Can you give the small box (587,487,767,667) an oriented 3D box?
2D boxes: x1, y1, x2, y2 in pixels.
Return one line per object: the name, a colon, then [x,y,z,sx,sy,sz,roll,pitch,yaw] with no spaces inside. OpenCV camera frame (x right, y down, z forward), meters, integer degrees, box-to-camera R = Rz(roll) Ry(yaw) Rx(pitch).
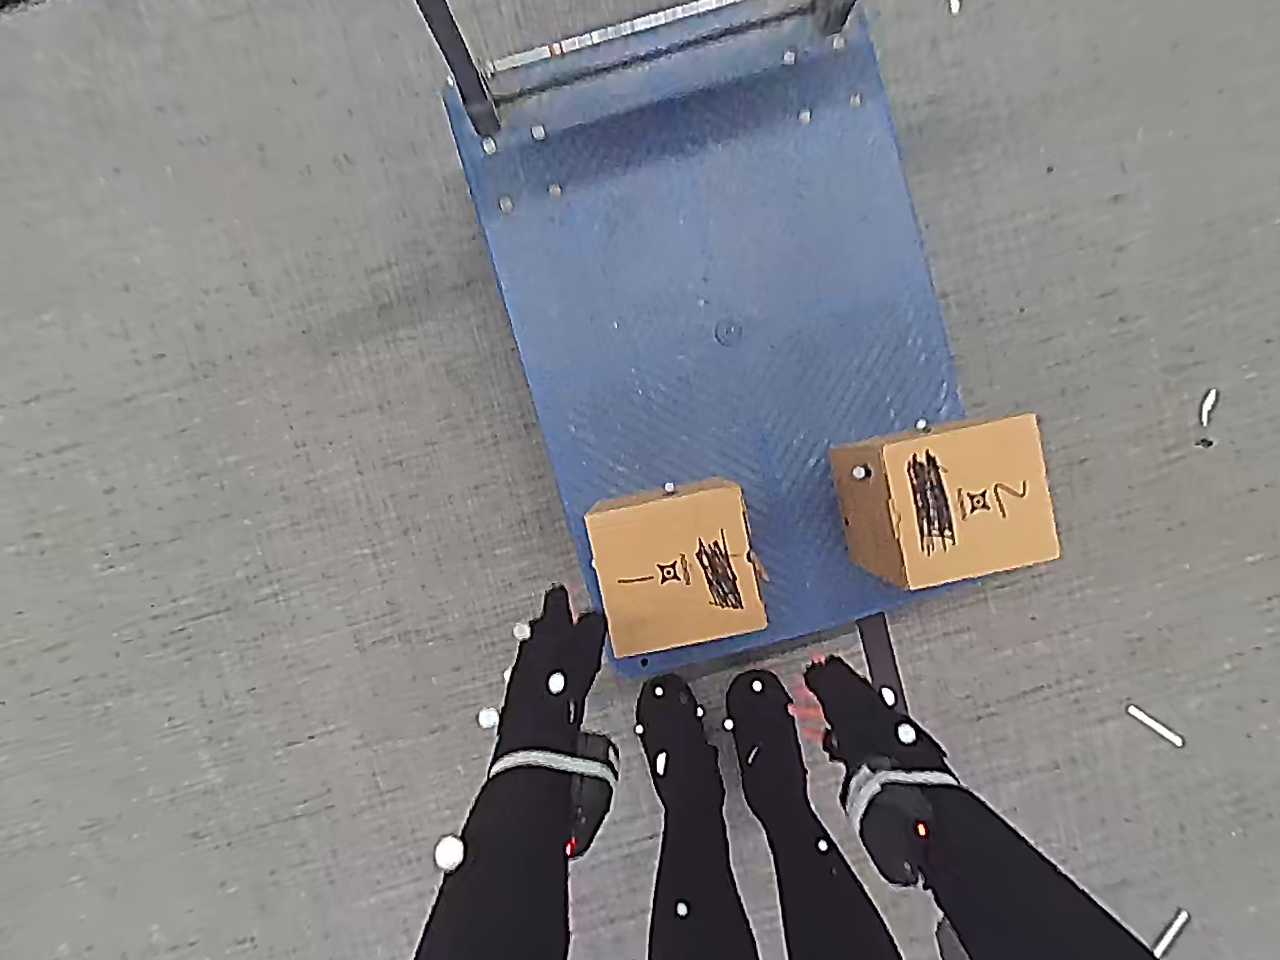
small box: [0.041,0.107,0.672,0.179,0.176,0.168,-12,93,1]
